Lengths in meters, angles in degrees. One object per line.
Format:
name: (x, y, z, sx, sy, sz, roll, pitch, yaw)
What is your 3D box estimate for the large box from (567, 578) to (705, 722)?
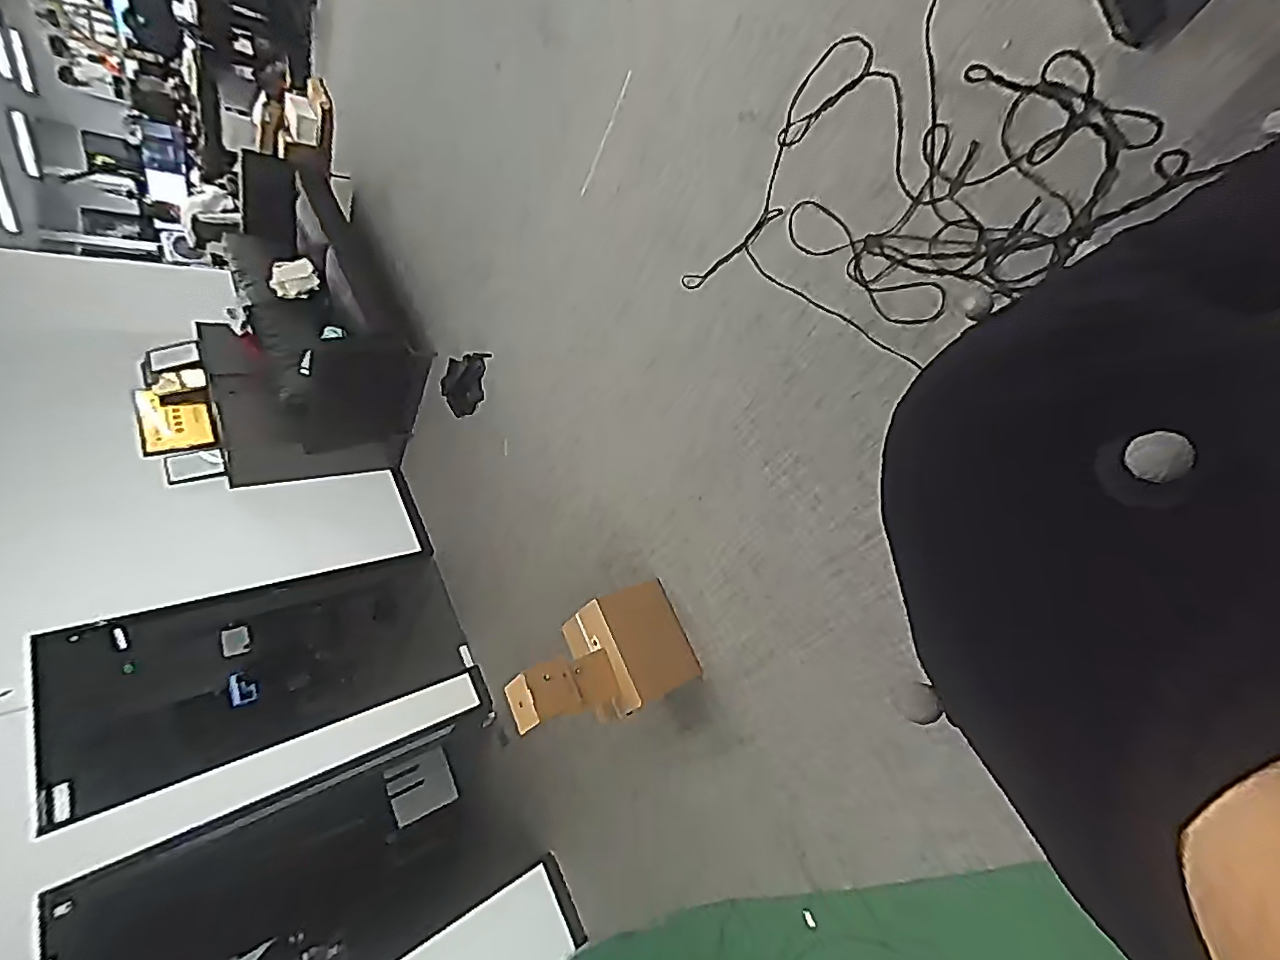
large box: (-0.022, 0.646, 2.082, 0.320, 0.320, 0.408, -46, 62, 43)

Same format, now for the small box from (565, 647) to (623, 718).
small box: (-0.186, 0.715, 1.912, 0.168, 0.176, 0.179, -39, 67, 46)

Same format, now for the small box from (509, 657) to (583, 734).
small box: (-0.312, 0.716, 1.807, 0.179, 0.176, 0.168, -50, 59, 43)
